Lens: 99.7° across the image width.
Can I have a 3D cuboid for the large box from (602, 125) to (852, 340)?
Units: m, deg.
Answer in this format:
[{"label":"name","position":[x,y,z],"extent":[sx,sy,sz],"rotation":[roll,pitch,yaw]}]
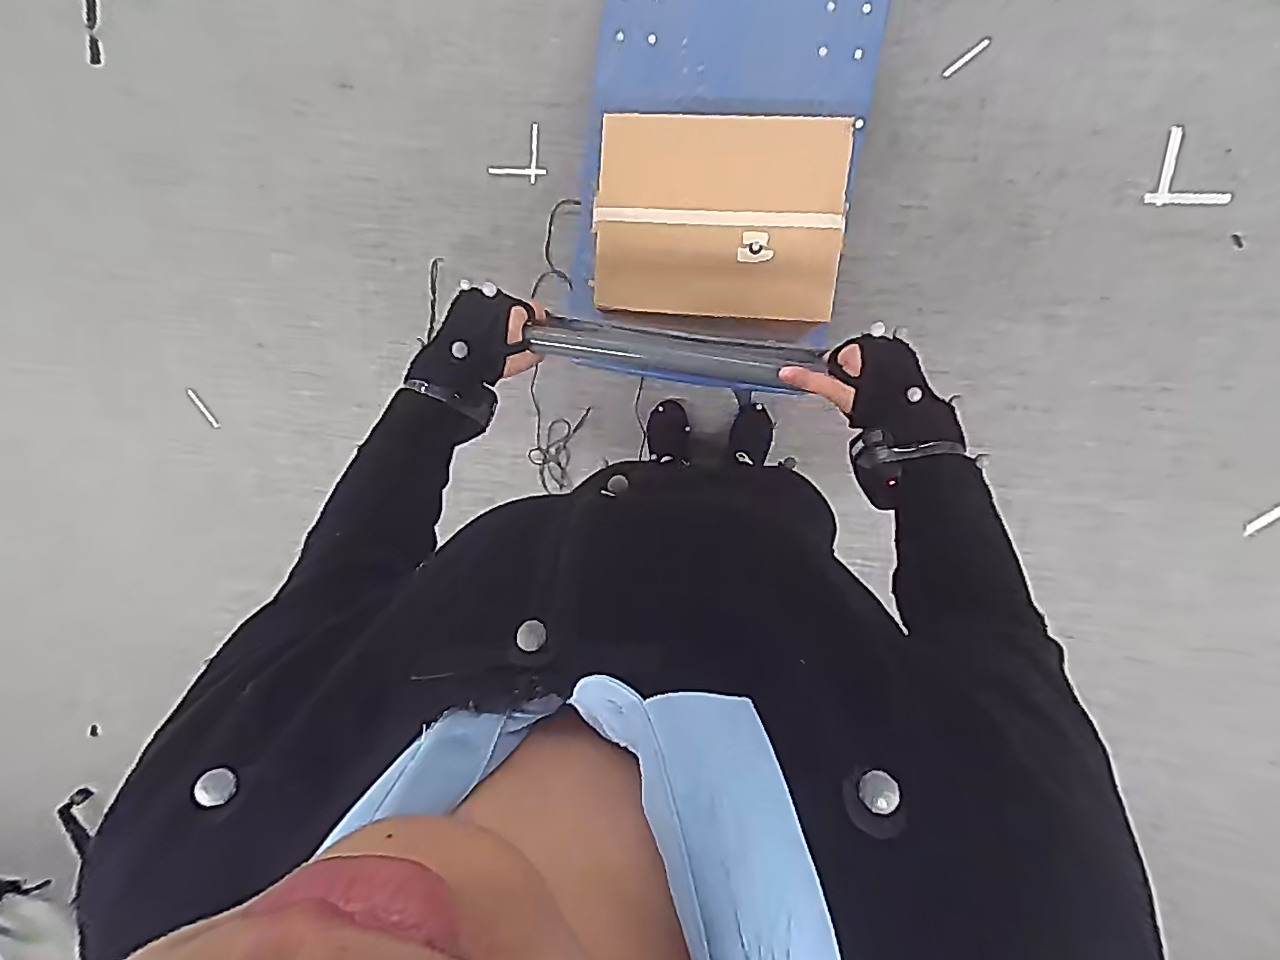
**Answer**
[{"label":"large box","position":[0.149,-0.450,1.052],"extent":[0.408,0.320,0.320],"rotation":[4,100,5]}]
